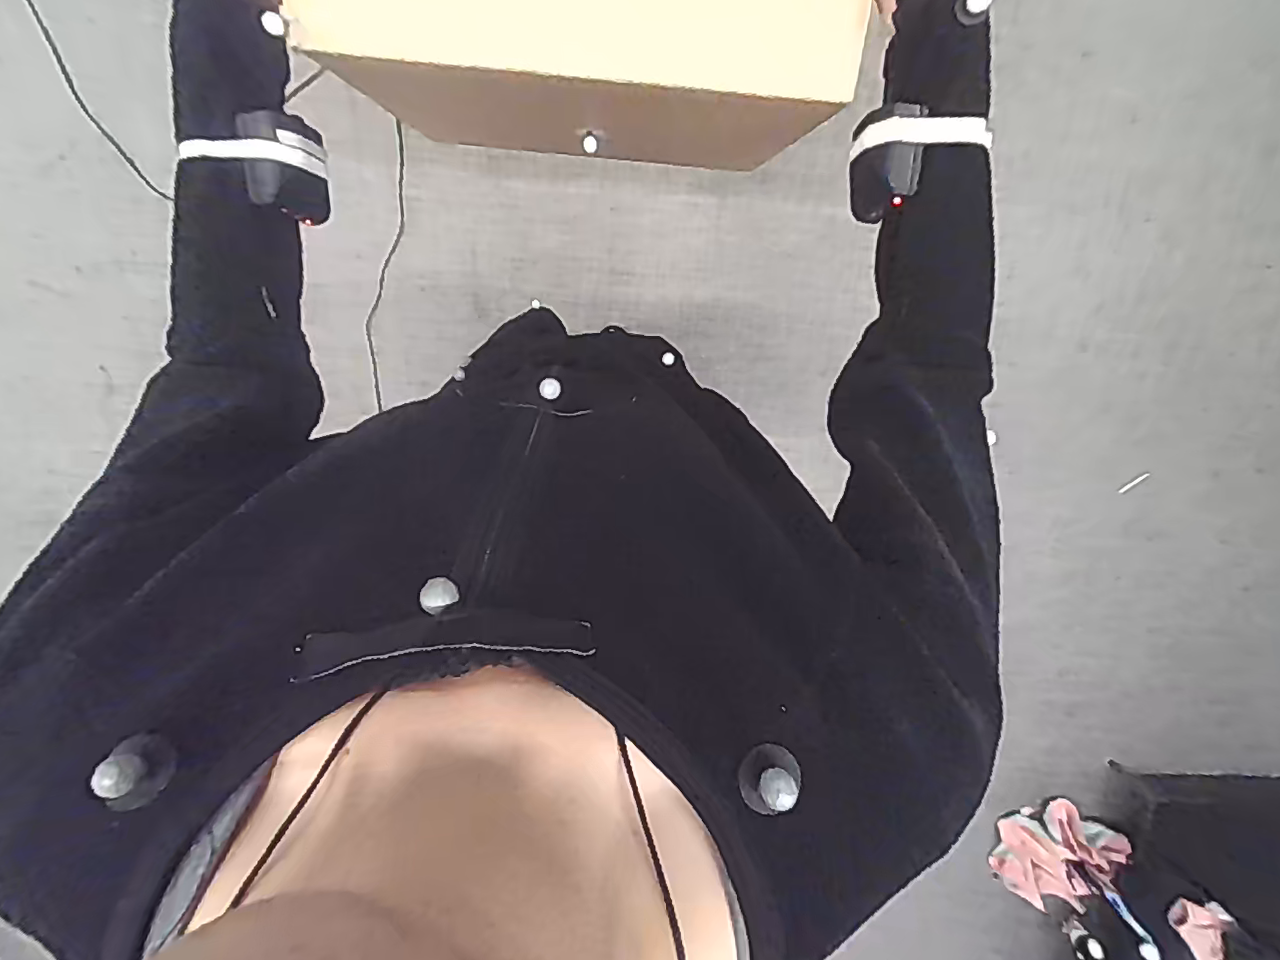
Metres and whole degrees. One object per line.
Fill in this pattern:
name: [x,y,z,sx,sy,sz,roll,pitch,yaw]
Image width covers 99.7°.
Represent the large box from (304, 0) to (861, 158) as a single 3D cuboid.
large box: [-0.036,-0.496,0.483,0.408,0.320,0.320,3,111,-3]
